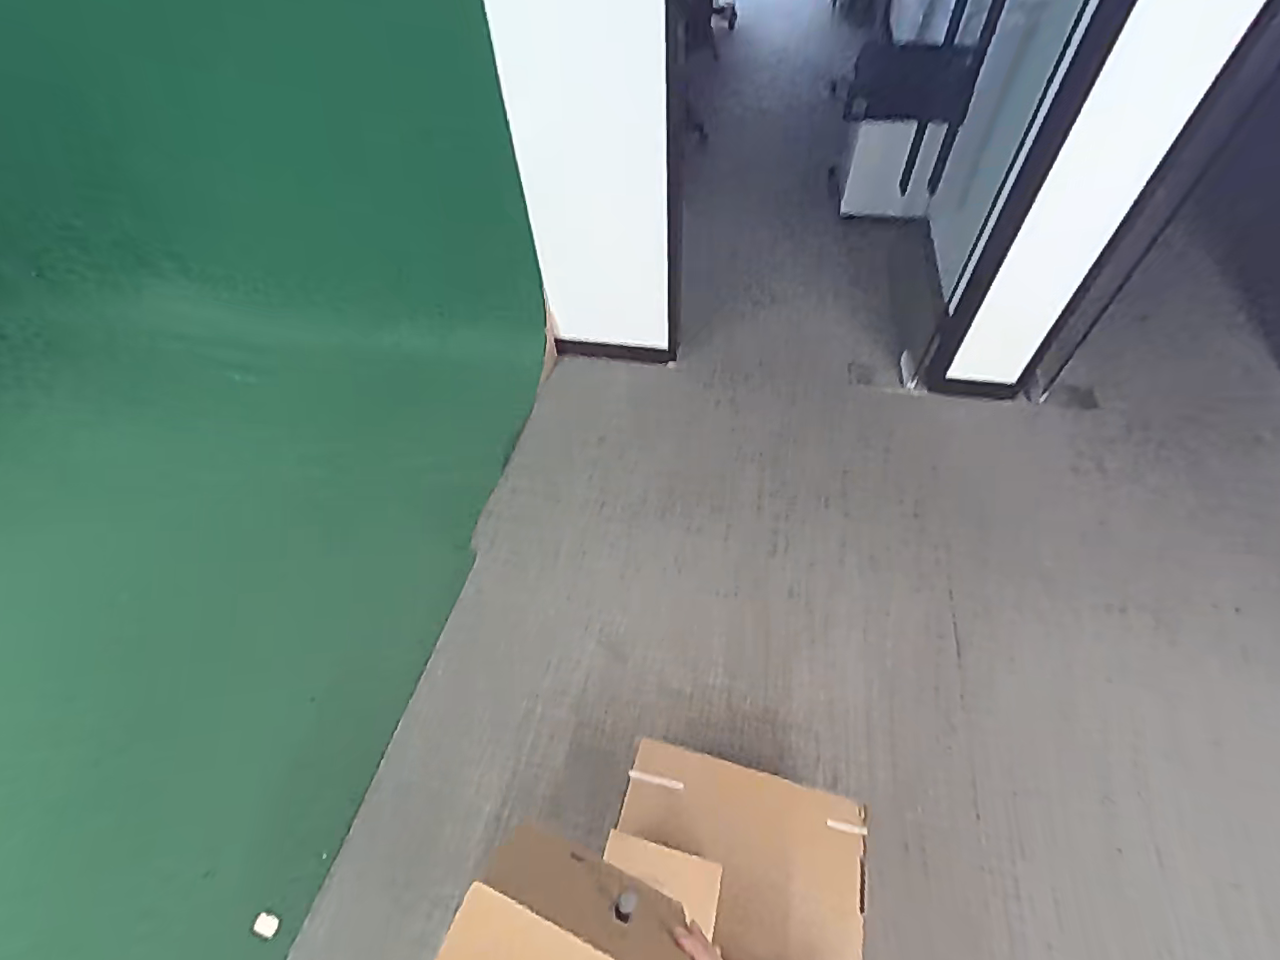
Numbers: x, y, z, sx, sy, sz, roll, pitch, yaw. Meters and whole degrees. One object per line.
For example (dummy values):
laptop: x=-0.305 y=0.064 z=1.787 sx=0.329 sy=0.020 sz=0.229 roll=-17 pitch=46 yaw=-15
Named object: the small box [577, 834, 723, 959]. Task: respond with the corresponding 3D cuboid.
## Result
small box: x=0.018 y=0.639 z=0.766 sx=0.168 sy=0.176 sz=0.179 roll=11 pitch=50 yaw=12
